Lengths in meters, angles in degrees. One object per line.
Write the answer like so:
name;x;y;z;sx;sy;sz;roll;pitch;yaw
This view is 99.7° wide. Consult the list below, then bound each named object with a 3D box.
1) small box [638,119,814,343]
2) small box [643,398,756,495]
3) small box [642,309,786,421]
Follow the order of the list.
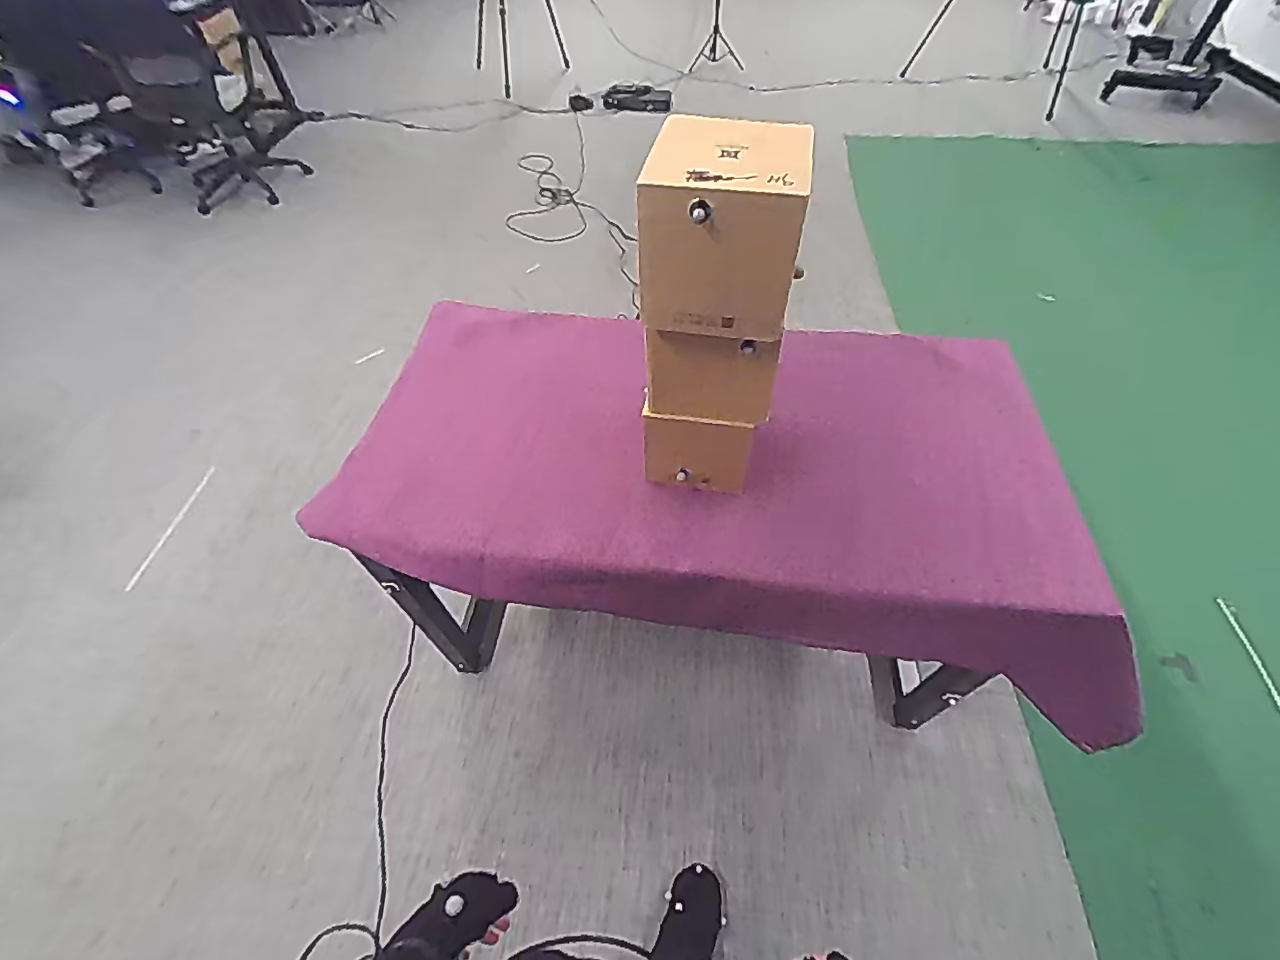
small box;0.096;-0.283;0.616;0.168;0.176;0.179;8;52;9
small box;0.101;-0.100;0.887;0.168;0.176;0.179;8;53;9
small box;0.104;-0.200;0.760;0.179;0.176;0.168;6;53;7
